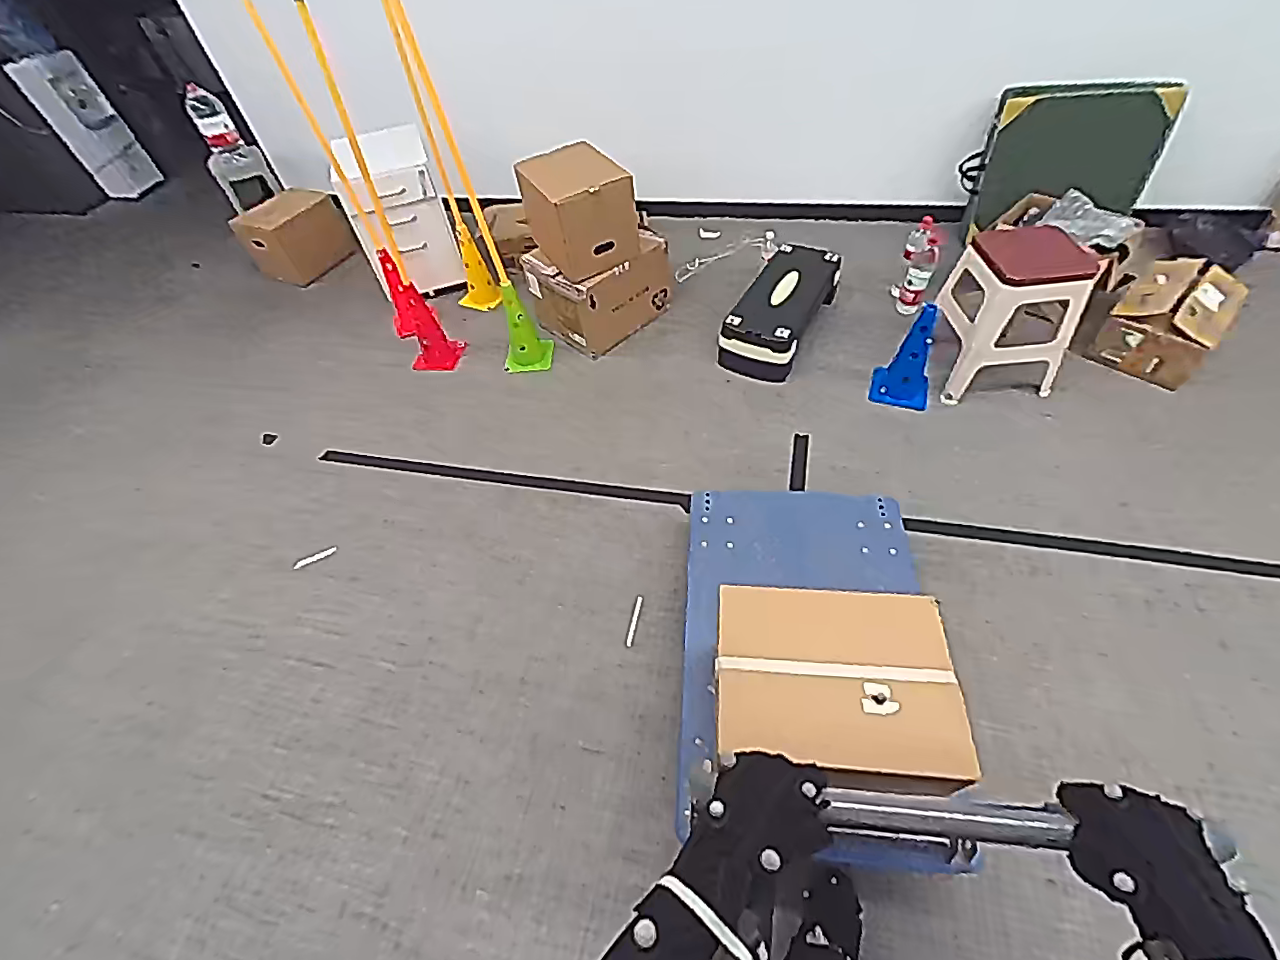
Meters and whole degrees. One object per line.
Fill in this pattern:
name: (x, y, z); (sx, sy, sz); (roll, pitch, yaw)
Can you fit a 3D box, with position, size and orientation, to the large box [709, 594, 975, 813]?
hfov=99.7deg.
large box: (0.342, 0.439, 1.058); (0.408, 0.320, 0.320); (2, 52, 6)
